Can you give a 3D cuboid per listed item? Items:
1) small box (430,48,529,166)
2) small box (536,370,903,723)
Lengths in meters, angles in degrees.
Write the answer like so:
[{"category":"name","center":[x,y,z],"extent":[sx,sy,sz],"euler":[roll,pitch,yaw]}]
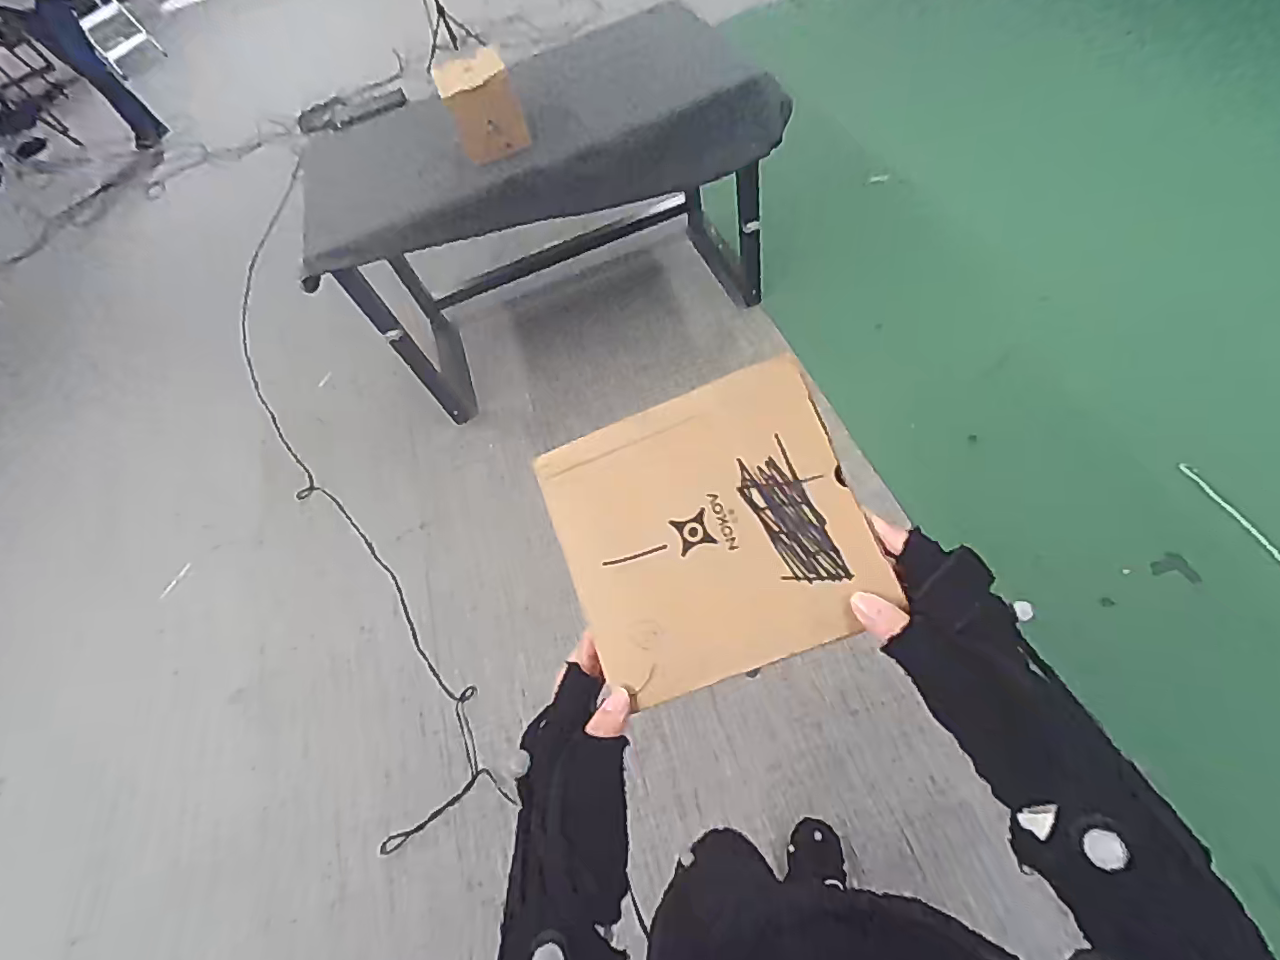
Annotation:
[{"category":"small box","center":[-0.391,-0.910,1.334],"extent":[0.168,0.176,0.179],"euler":[-23,58,-1]},{"category":"small box","center":[0.052,0.048,0.399],"extent":[0.179,0.176,0.168],"euler":[-22,78,6]}]
